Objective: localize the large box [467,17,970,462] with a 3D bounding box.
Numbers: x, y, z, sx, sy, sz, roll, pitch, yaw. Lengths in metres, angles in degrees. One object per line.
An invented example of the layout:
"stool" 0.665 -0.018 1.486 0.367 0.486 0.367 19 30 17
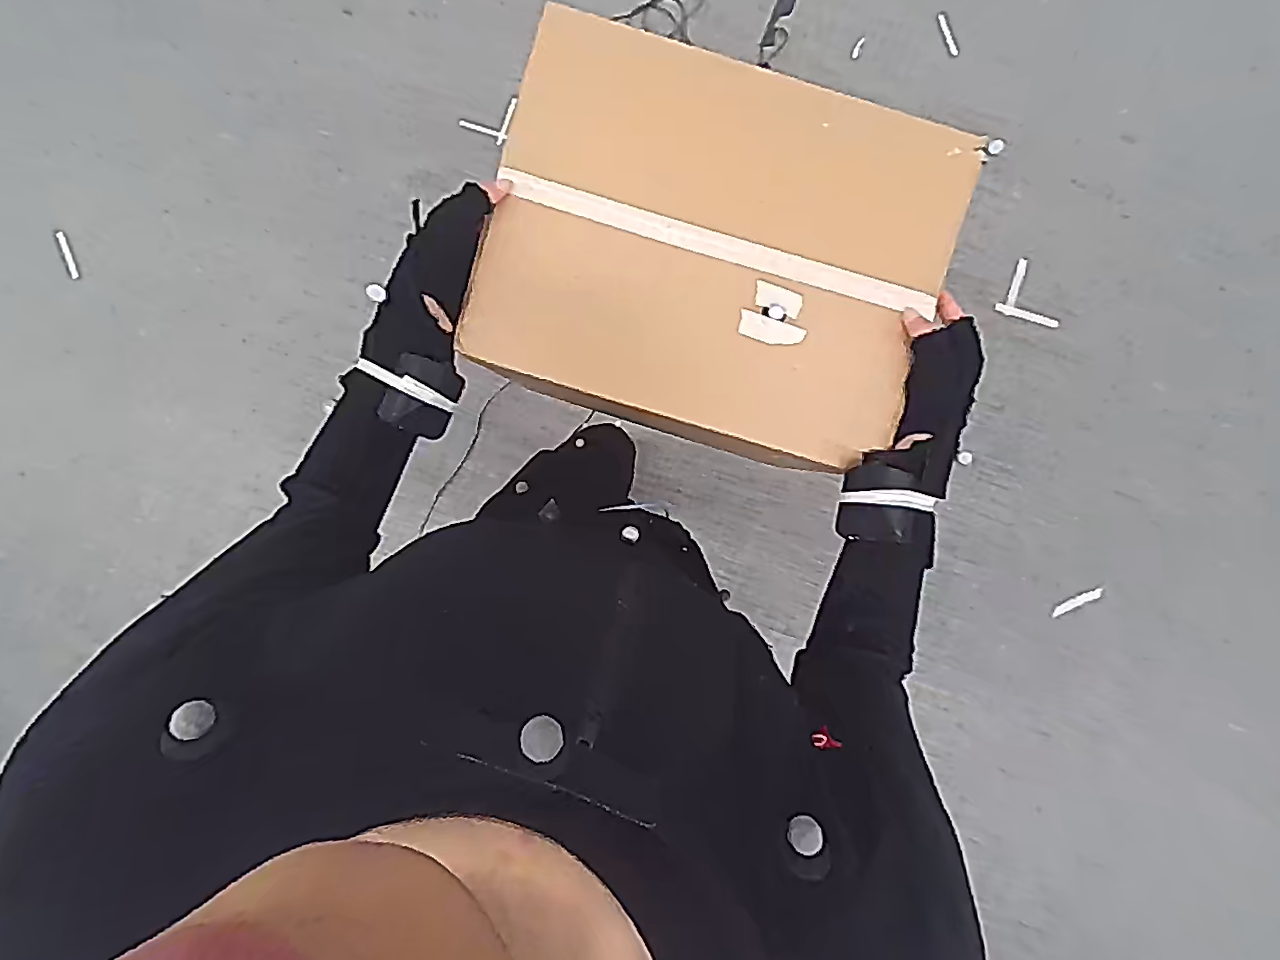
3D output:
"large box" 0.067 -0.224 0.642 0.408 0.320 0.320 17 94 -2
